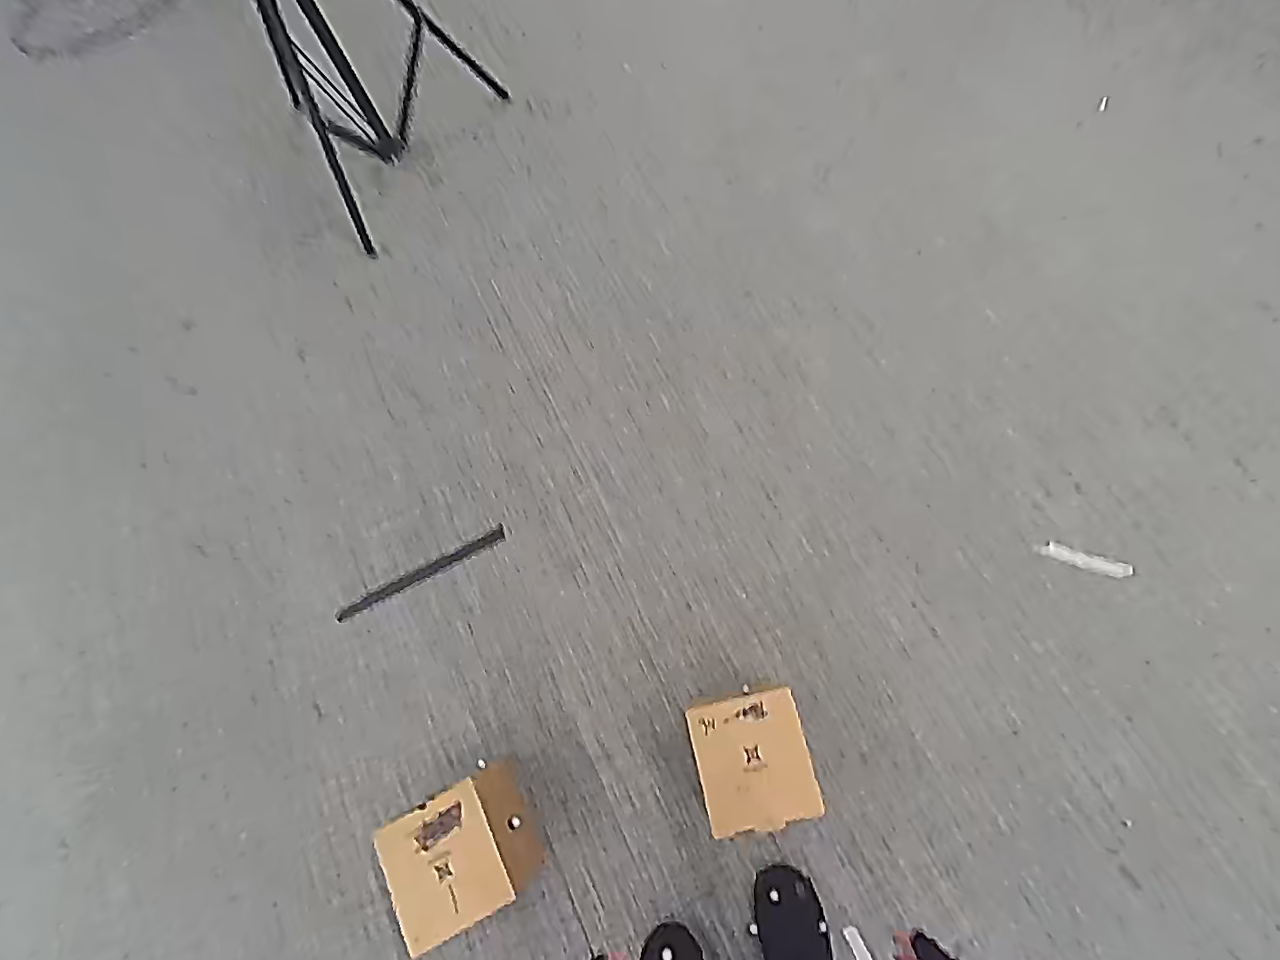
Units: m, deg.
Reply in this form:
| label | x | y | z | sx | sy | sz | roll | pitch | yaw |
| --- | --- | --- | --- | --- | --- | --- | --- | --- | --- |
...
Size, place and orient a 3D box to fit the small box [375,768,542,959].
| label | x | y | z | sx | sy | sz | roll | pitch | yaw |
| --- | --- | --- | --- | --- | --- | --- | --- | --- | --- |
| small box | -0.275 | 0.579 | 0.849 | 0.168 | 0.176 | 0.179 | -28 | 72 | -5 |

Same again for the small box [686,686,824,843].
| label | x | y | z | sx | sy | sz | roll | pitch | yaw |
| --- | --- | --- | --- | --- | --- | --- | --- | --- | --- |
| small box | 0.172 | 0.438 | 0.861 | 0.168 | 0.176 | 0.179 | -13 | 71 | 0 |
